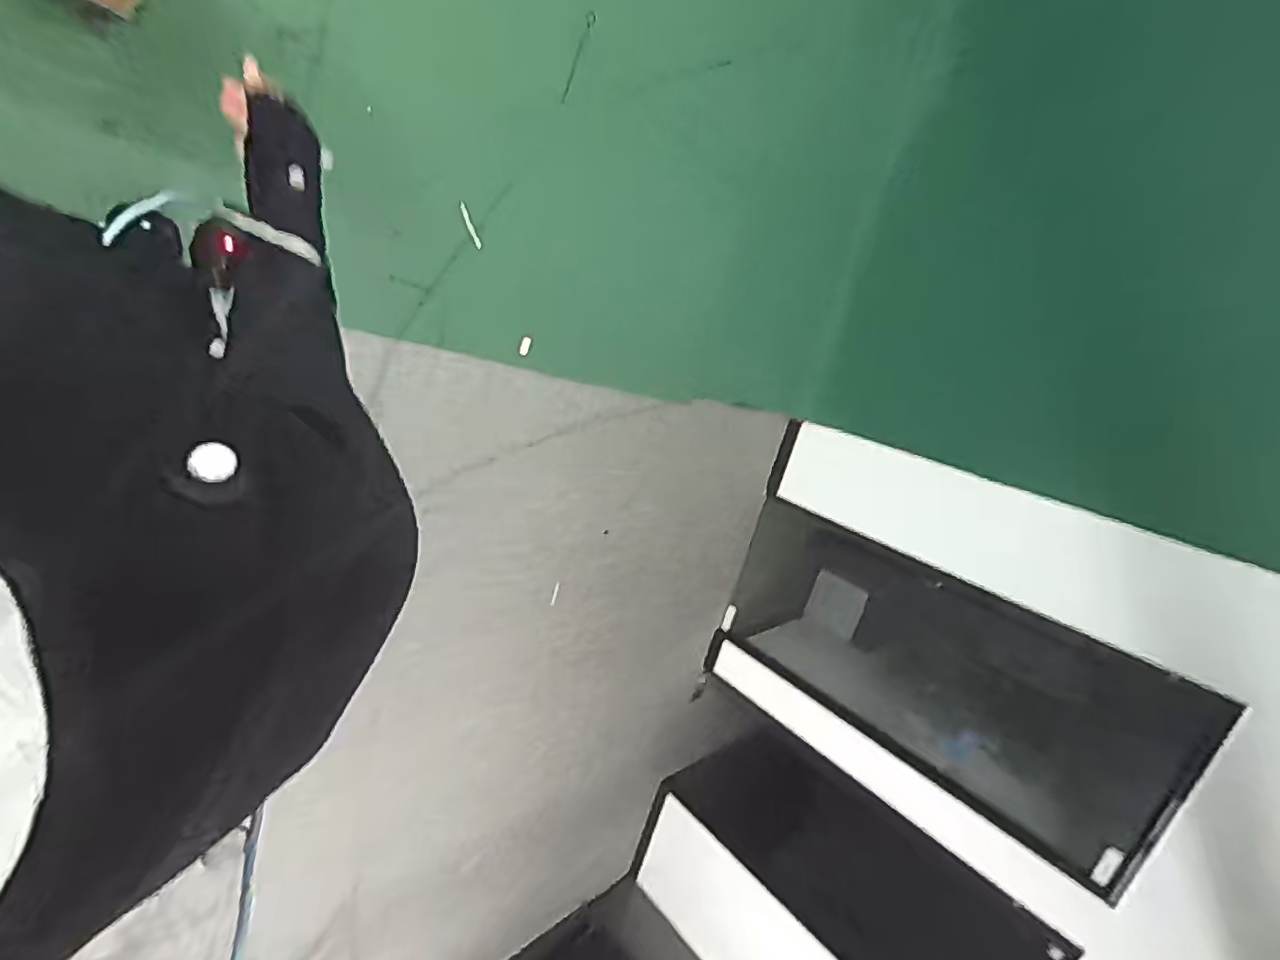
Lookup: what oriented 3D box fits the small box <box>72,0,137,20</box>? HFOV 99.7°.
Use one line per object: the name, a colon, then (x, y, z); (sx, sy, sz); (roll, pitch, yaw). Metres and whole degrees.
small box: (-0.863, -0.839, 0.801); (0.168, 0.176, 0.179); (0, 111, -47)
